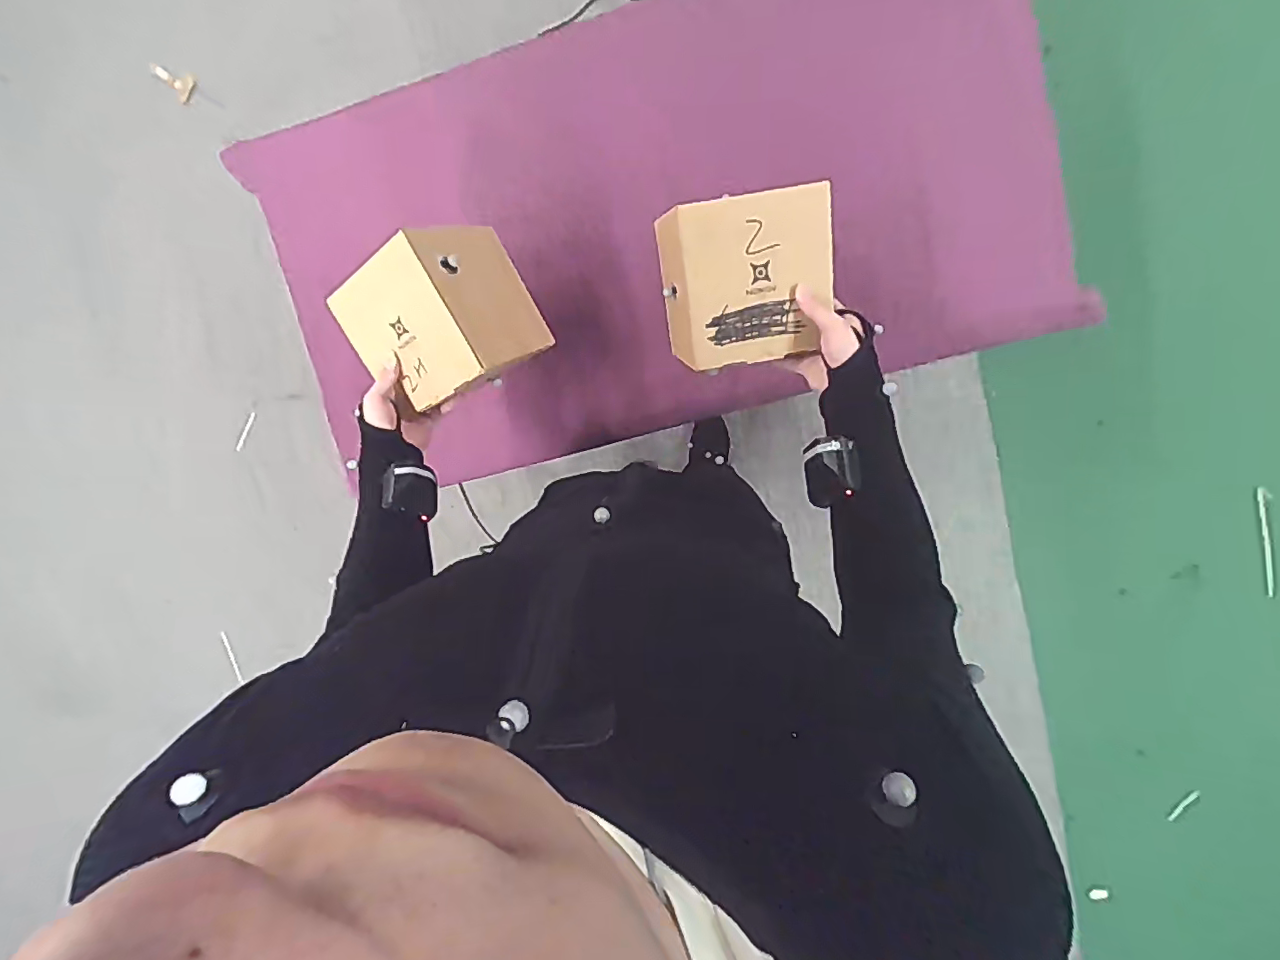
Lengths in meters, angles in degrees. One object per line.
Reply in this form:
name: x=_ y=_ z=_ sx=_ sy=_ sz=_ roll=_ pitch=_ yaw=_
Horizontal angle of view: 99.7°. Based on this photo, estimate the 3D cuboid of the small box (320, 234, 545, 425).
small box: x=-0.259 y=-0.199 z=0.706 sx=0.168 sy=0.176 sz=0.179 roll=-20 pitch=105 yaw=30
